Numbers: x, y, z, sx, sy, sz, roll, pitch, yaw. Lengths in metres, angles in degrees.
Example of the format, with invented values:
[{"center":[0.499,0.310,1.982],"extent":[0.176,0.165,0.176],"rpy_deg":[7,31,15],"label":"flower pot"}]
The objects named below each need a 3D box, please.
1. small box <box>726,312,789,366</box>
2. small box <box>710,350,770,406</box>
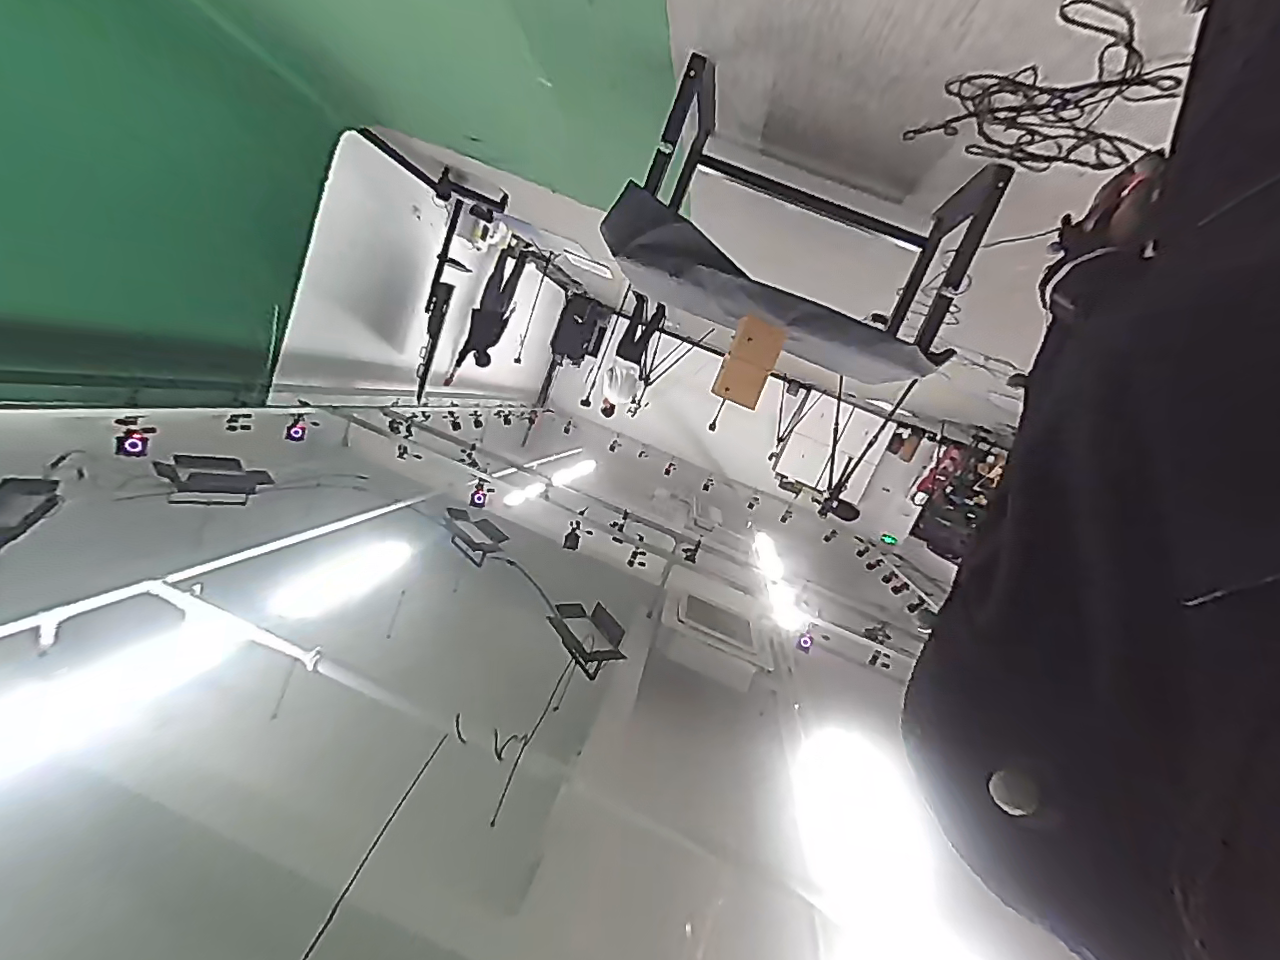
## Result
[{"center":[0.465,-0.565,2.162],"extent":[0.179,0.176,0.168],"rpy_deg":[20,-168,-4],"label":"small box"},{"center":[0.406,-0.418,2.197],"extent":[0.179,0.176,0.168],"rpy_deg":[22,-168,-5],"label":"small box"}]
